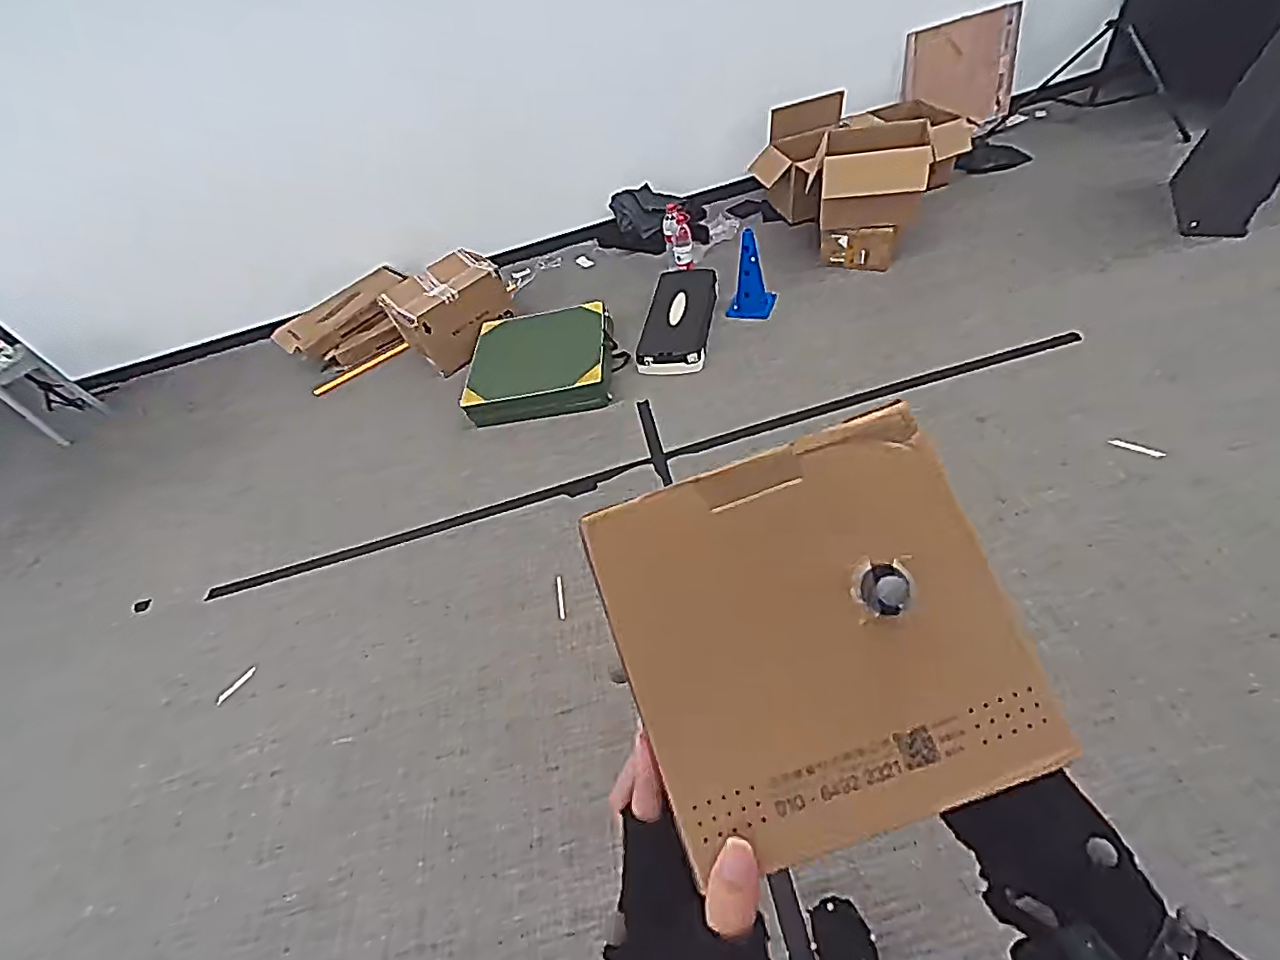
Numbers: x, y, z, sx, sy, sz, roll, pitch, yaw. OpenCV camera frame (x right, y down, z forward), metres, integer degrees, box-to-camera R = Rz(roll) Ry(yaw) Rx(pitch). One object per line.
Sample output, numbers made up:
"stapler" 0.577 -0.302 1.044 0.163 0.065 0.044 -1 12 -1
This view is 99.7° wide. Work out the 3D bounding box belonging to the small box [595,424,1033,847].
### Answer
"small box" 0.087 0.090 0.335 0.168 0.179 0.176 -20 78 1
